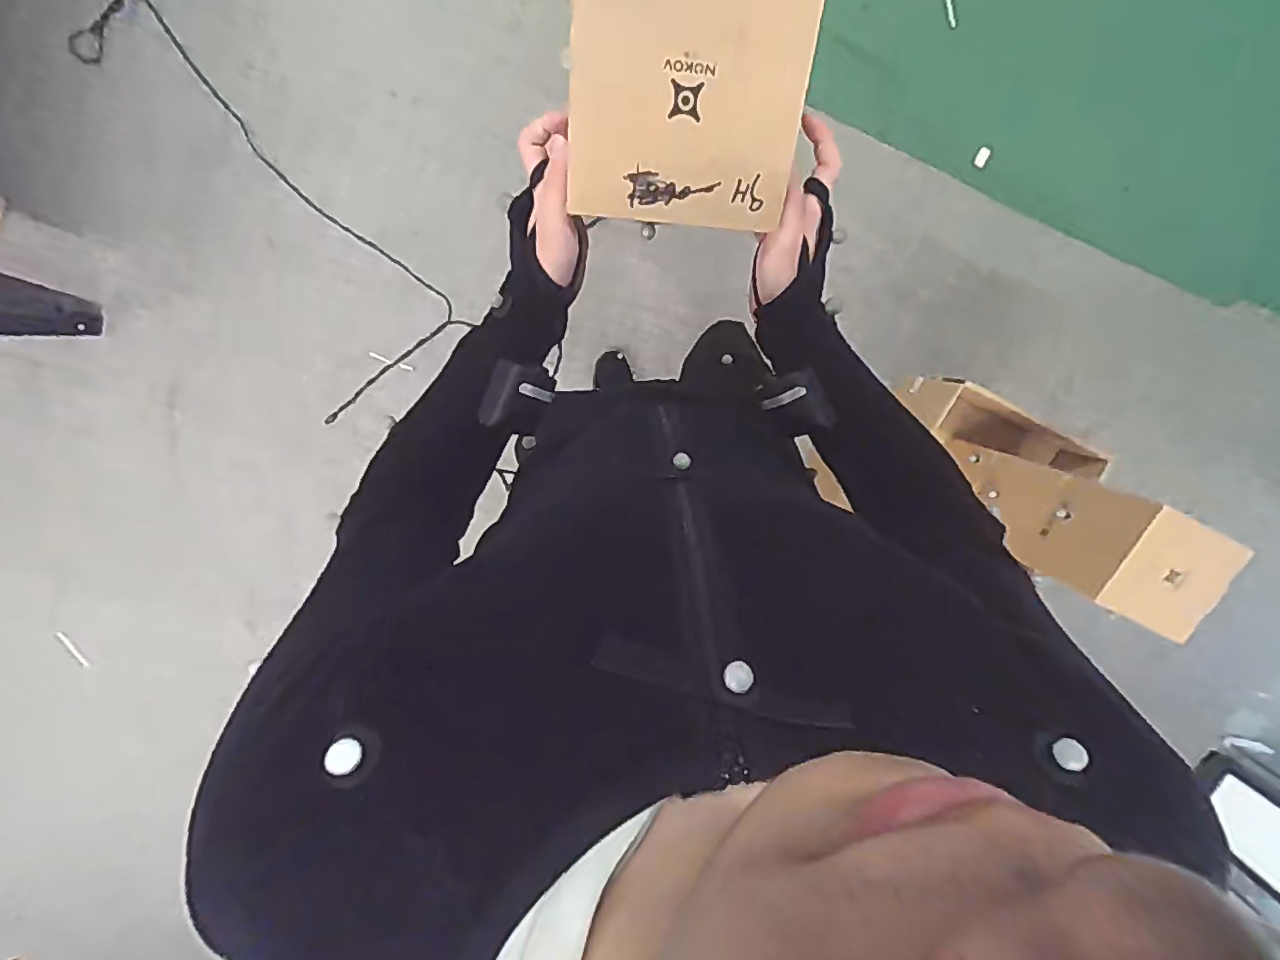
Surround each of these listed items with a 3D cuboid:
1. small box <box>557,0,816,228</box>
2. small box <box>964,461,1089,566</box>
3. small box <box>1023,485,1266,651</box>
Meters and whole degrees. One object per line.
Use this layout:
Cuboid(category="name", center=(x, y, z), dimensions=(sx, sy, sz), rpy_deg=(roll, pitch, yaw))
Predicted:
Cuboid(category="small box", center=(0.023, -0.309, 0.433), dimensions=(0.168, 0.176, 0.179), rpy_deg=(3, 118, -5))
Cuboid(category="small box", center=(0.752, 0.081, 0.991), dimensions=(0.179, 0.176, 0.168), rpy_deg=(24, 102, -9))
Cuboid(category="small box", center=(0.758, 0.125, 0.834), dimensions=(0.179, 0.176, 0.168), rpy_deg=(25, 102, -8))
